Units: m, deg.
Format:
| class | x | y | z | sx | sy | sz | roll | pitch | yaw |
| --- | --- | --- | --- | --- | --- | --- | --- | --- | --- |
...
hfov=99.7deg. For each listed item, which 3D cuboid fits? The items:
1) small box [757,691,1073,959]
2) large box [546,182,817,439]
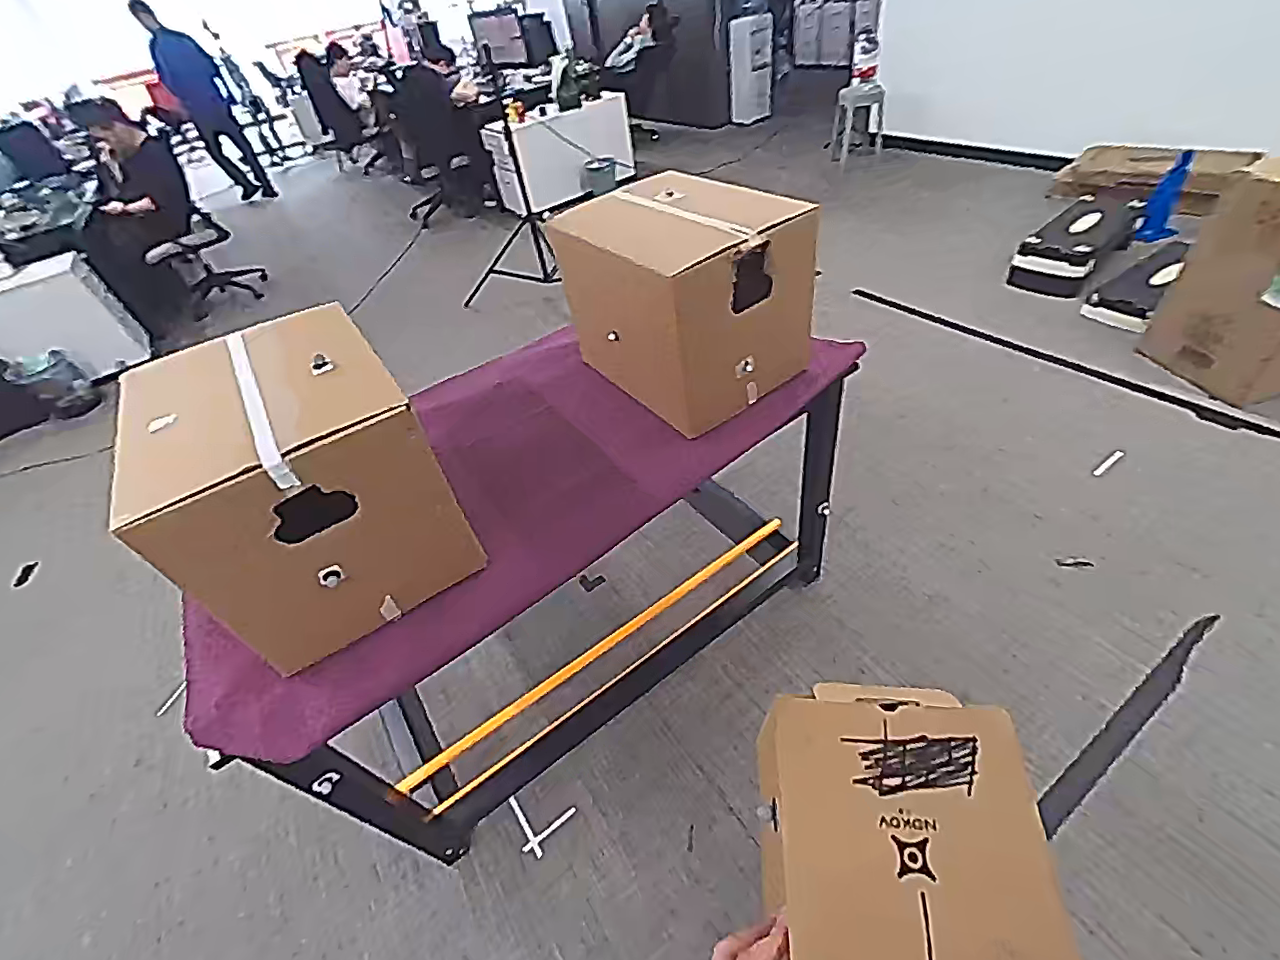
| class | x | y | z | sx | sy | sz | roll | pitch | yaw |
| --- | --- | --- | --- | --- | --- | --- | --- | --- | --- |
| small box | 0.181 | 0.279 | 0.417 | 0.168 | 0.176 | 0.179 | 0 | 56 | 8 |
| large box | 0.081 | -0.343 | 1.051 | 0.320 | 0.320 | 0.408 | -31 | 46 | -20 |
